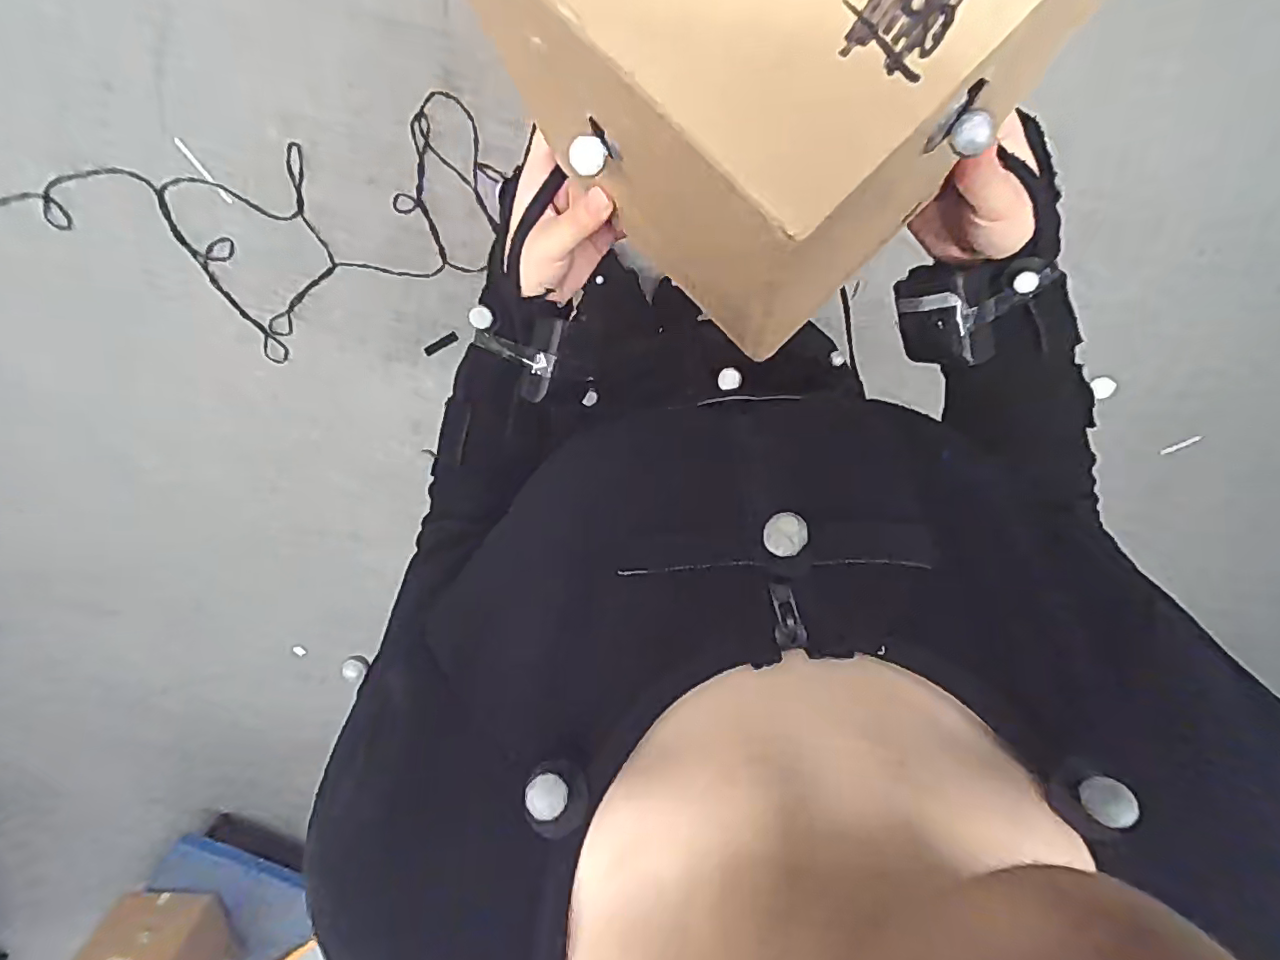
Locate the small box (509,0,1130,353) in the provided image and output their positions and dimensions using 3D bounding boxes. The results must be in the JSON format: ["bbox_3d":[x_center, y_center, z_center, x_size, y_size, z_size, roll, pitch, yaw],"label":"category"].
[{"bbox_3d":[0.065,-0.182,0.236,0.168,0.176,0.179,-44,84,7],"label":"small box"}]
